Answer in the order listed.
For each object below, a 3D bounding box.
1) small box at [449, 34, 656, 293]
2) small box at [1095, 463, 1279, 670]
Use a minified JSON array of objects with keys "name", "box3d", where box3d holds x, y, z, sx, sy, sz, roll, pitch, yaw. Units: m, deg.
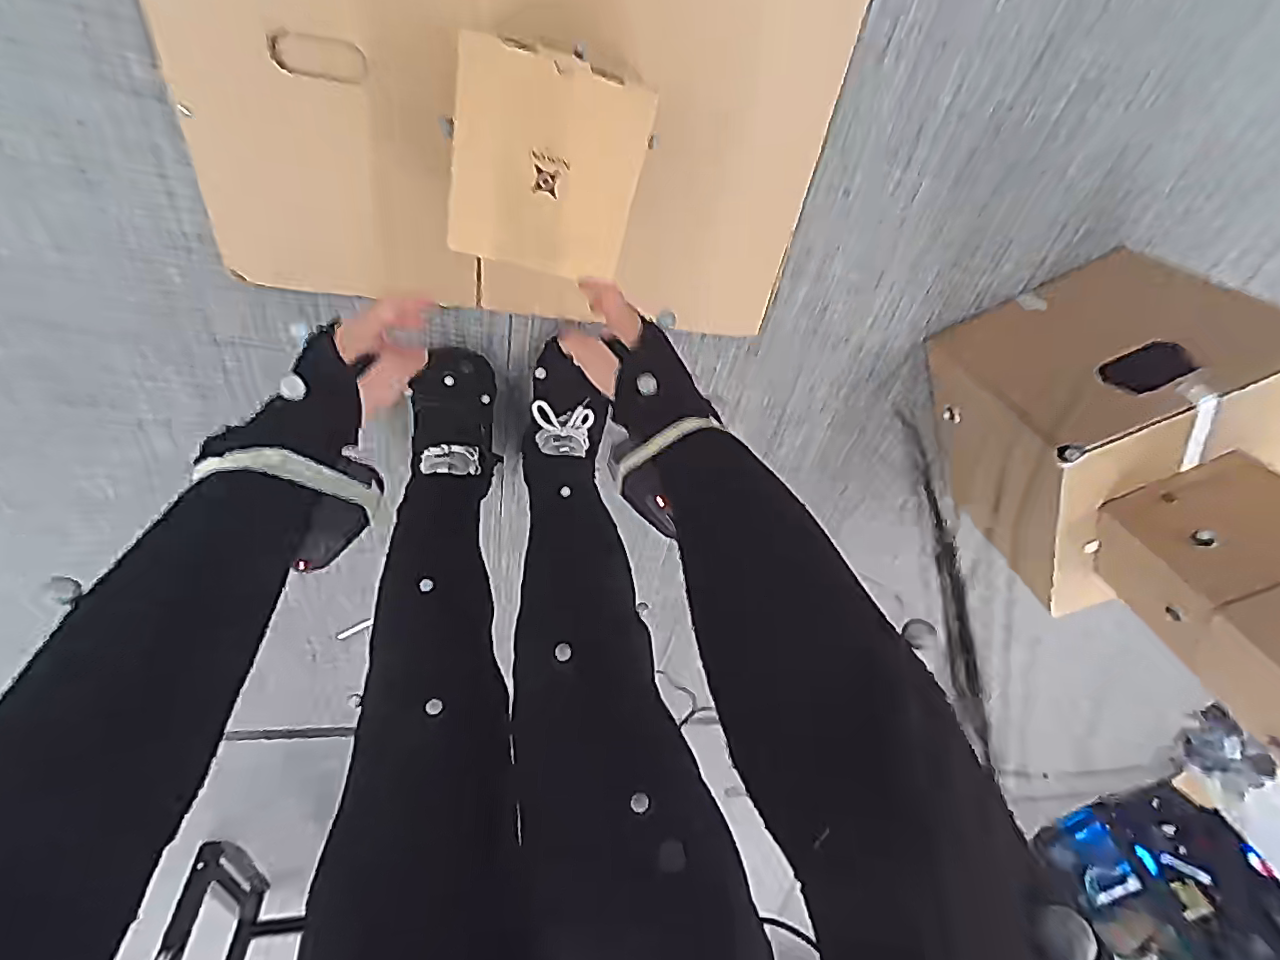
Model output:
[{"name":"small box","box3d":[-0.092,-0.324,0.556,0.168,0.176,0.179,9,128,-14]},{"name":"small box","box3d":[0.719,0.102,0.677,0.168,0.176,0.179,-27,131,13]}]
